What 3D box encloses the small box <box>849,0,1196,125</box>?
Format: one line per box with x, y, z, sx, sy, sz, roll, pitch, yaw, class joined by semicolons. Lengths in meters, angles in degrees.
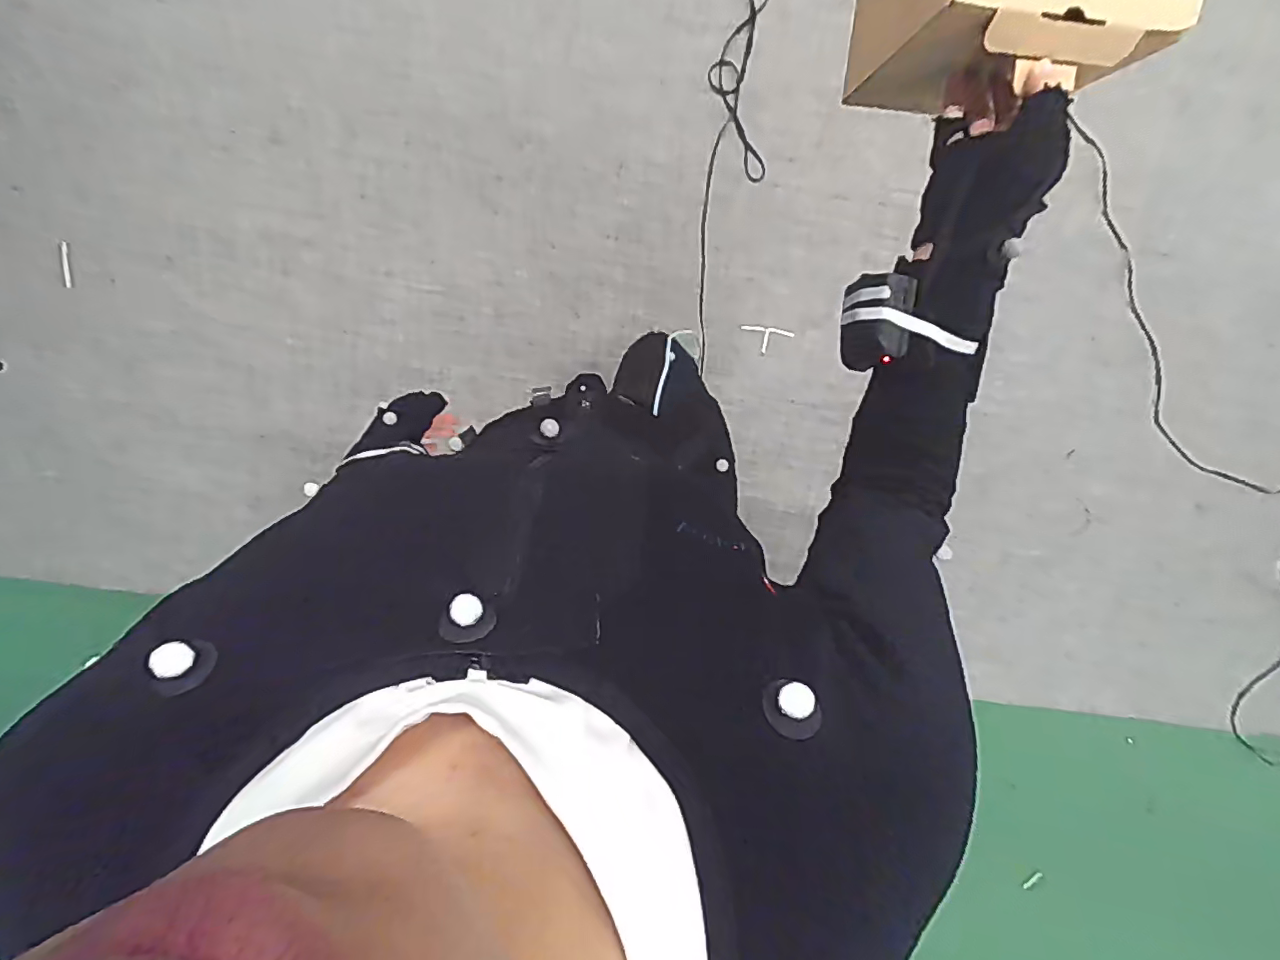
0.277;-0.399;0.401;0.168;0.176;0.179;4;107;-4;small box
